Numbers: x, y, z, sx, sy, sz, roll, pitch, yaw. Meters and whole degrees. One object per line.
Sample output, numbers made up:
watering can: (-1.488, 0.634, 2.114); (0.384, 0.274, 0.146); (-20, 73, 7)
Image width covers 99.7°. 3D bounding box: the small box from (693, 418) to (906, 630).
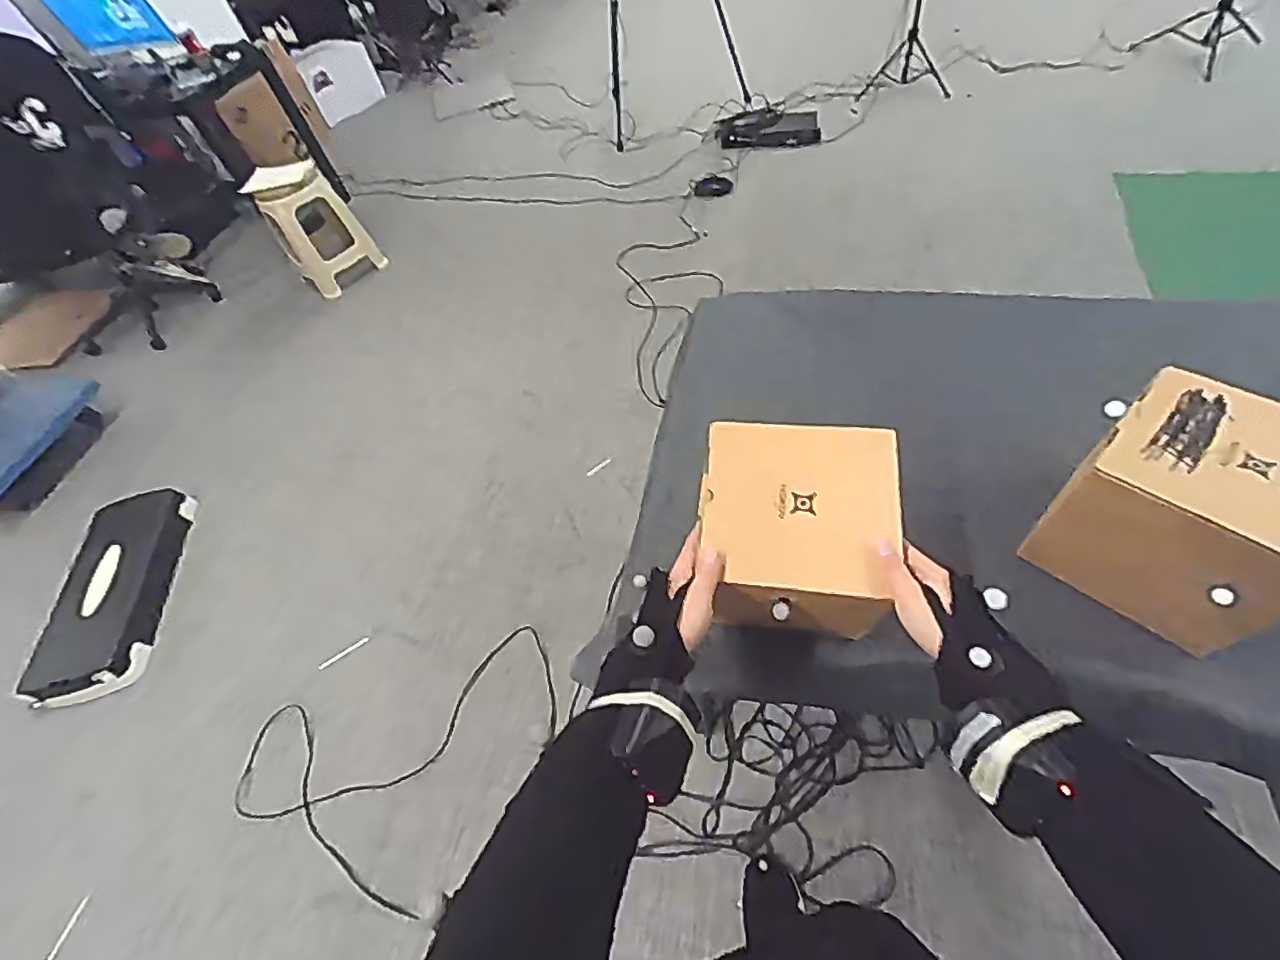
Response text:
small box: (0.156, 0.051, 0.558); (0.179, 0.176, 0.168); (2, 64, 13)
